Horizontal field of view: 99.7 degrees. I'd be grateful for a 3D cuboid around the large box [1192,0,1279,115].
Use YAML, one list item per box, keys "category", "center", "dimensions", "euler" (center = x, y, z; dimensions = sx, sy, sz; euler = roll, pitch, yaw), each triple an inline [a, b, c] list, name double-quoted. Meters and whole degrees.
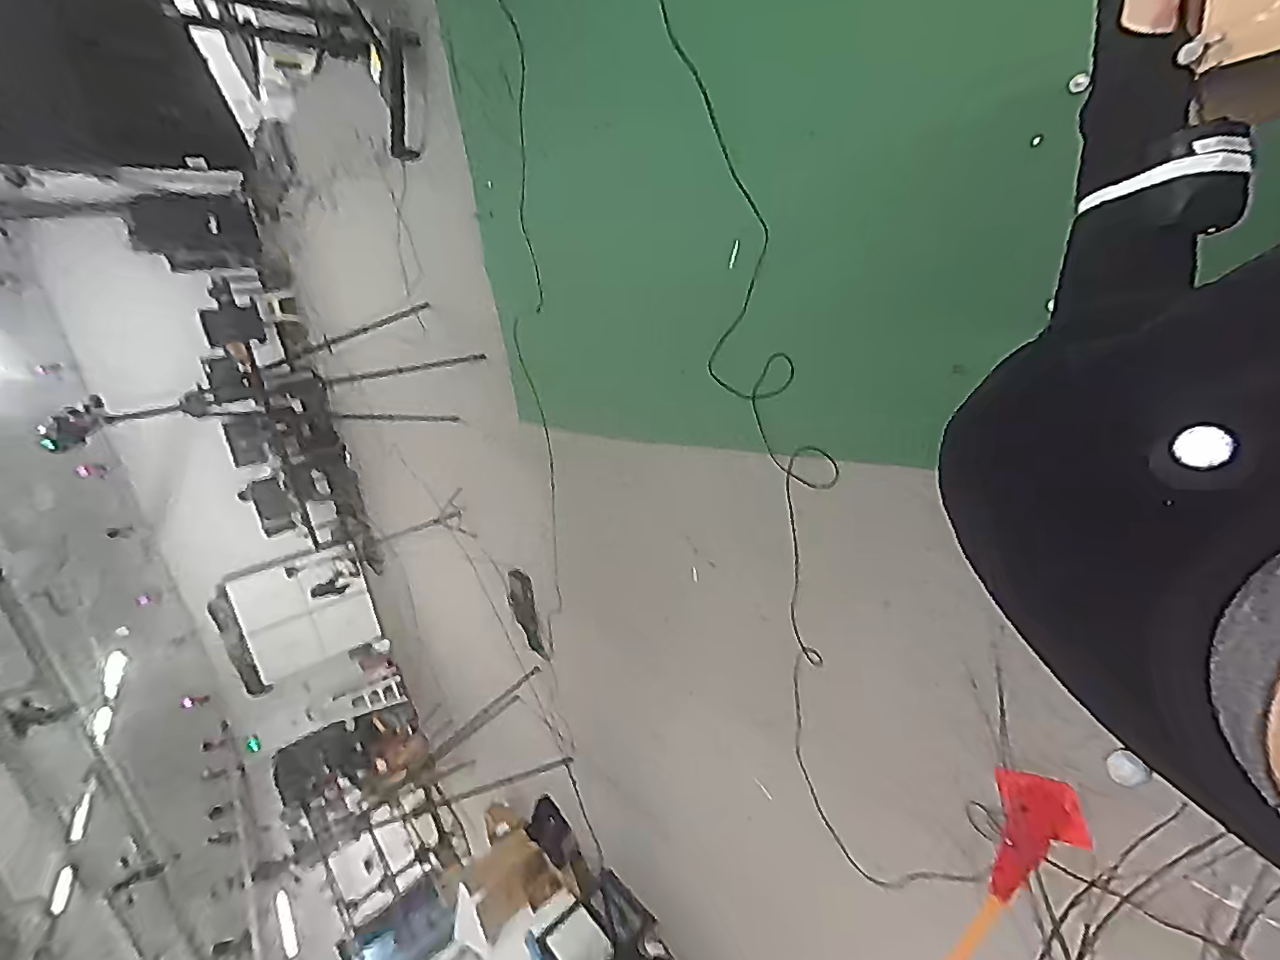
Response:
- category: "large box"
  center: [0.587, -0.439, 0.267]
  dimensions: [0.408, 0.320, 0.320]
  euler: [10, 114, 45]
